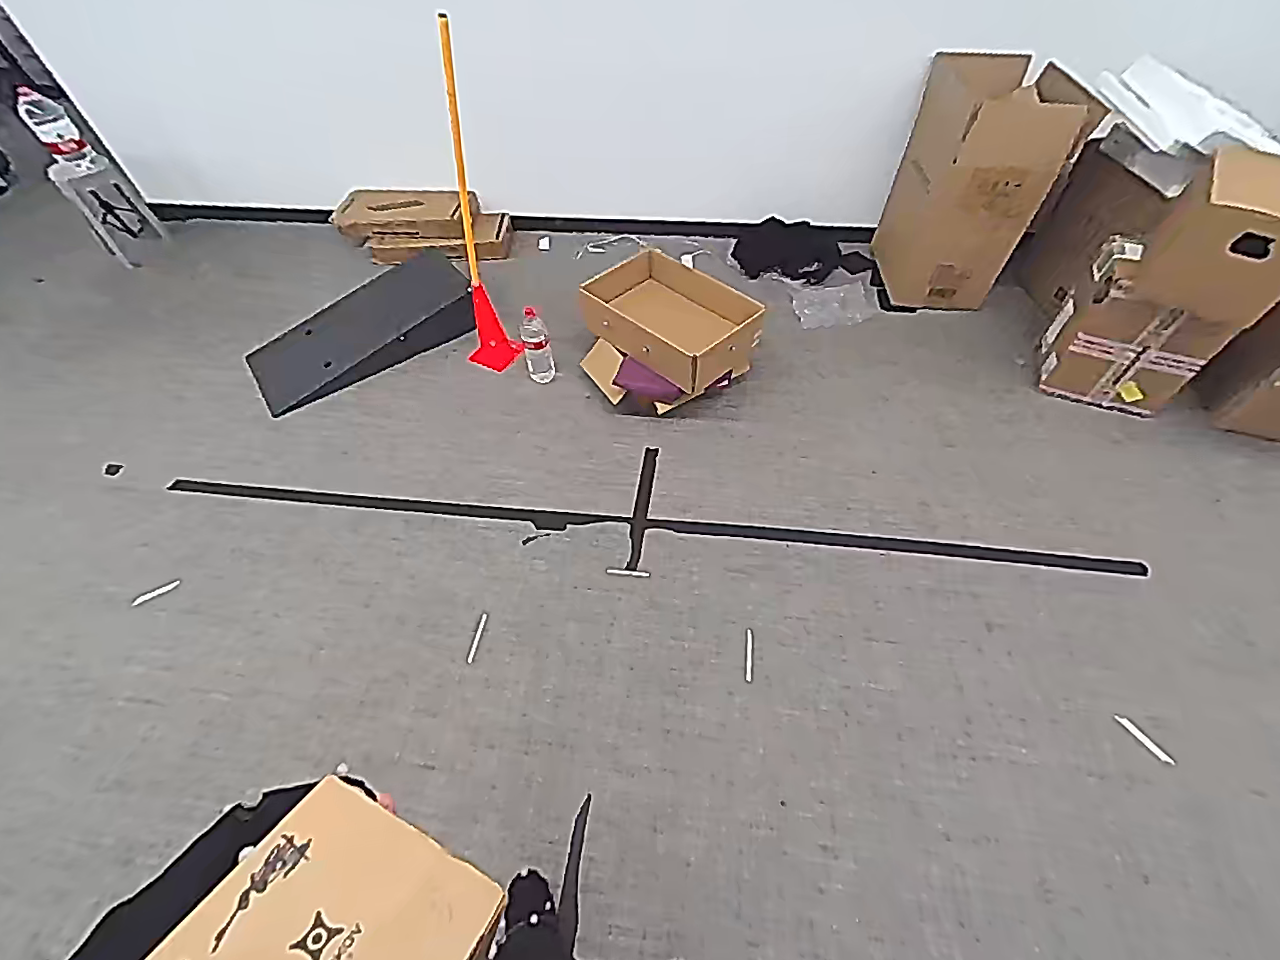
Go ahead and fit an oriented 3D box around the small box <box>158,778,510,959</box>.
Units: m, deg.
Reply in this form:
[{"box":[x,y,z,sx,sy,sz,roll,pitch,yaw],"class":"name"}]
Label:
[{"box":[-0.226,0.377,0.404,0.179,0.176,0.168,25,32,11],"class":"small box"}]
